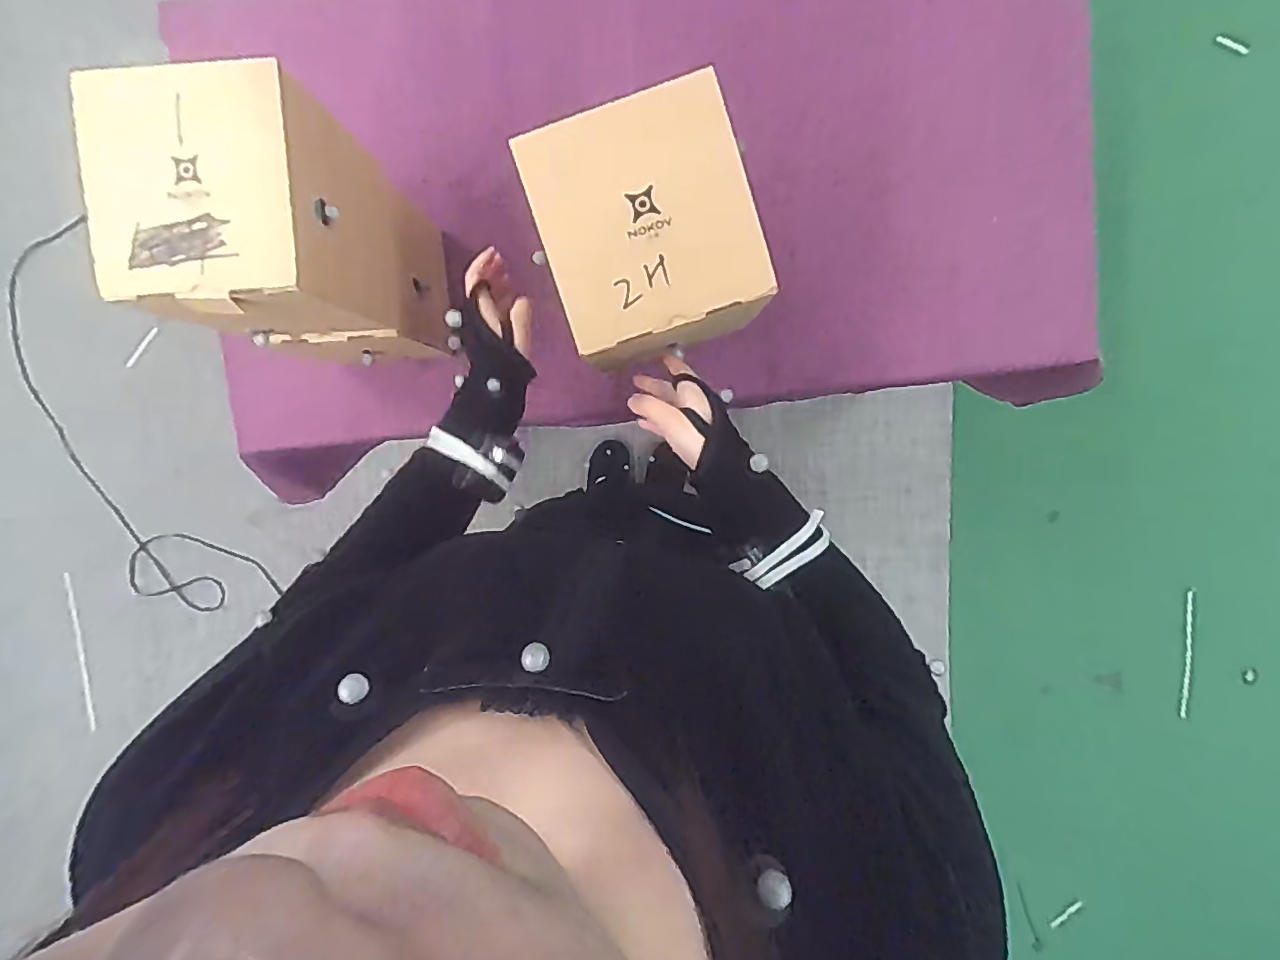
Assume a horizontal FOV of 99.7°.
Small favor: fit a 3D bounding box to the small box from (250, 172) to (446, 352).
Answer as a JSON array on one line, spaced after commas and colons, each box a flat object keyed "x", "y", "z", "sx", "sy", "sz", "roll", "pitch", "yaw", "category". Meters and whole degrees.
[{"x": -0.351, "y": -0.253, "z": 0.666, "sx": 0.168, "sy": 0.176, "sz": 0.179, "roll": -3, "pitch": 96, "yaw": 0, "category": "small box"}]

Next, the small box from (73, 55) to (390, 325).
[{"x": -0.350, "y": -0.244, "z": 0.501, "sx": 0.168, "sy": 0.176, "sz": 0.179, "roll": -2, "pitch": 95, "yaw": 1, "category": "small box"}]

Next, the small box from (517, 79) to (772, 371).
[{"x": 0.005, "y": -0.212, "z": 0.502, "sx": 0.168, "sy": 0.176, "sz": 0.179, "roll": -16, "pitch": 97, "yaw": 3, "category": "small box"}]
